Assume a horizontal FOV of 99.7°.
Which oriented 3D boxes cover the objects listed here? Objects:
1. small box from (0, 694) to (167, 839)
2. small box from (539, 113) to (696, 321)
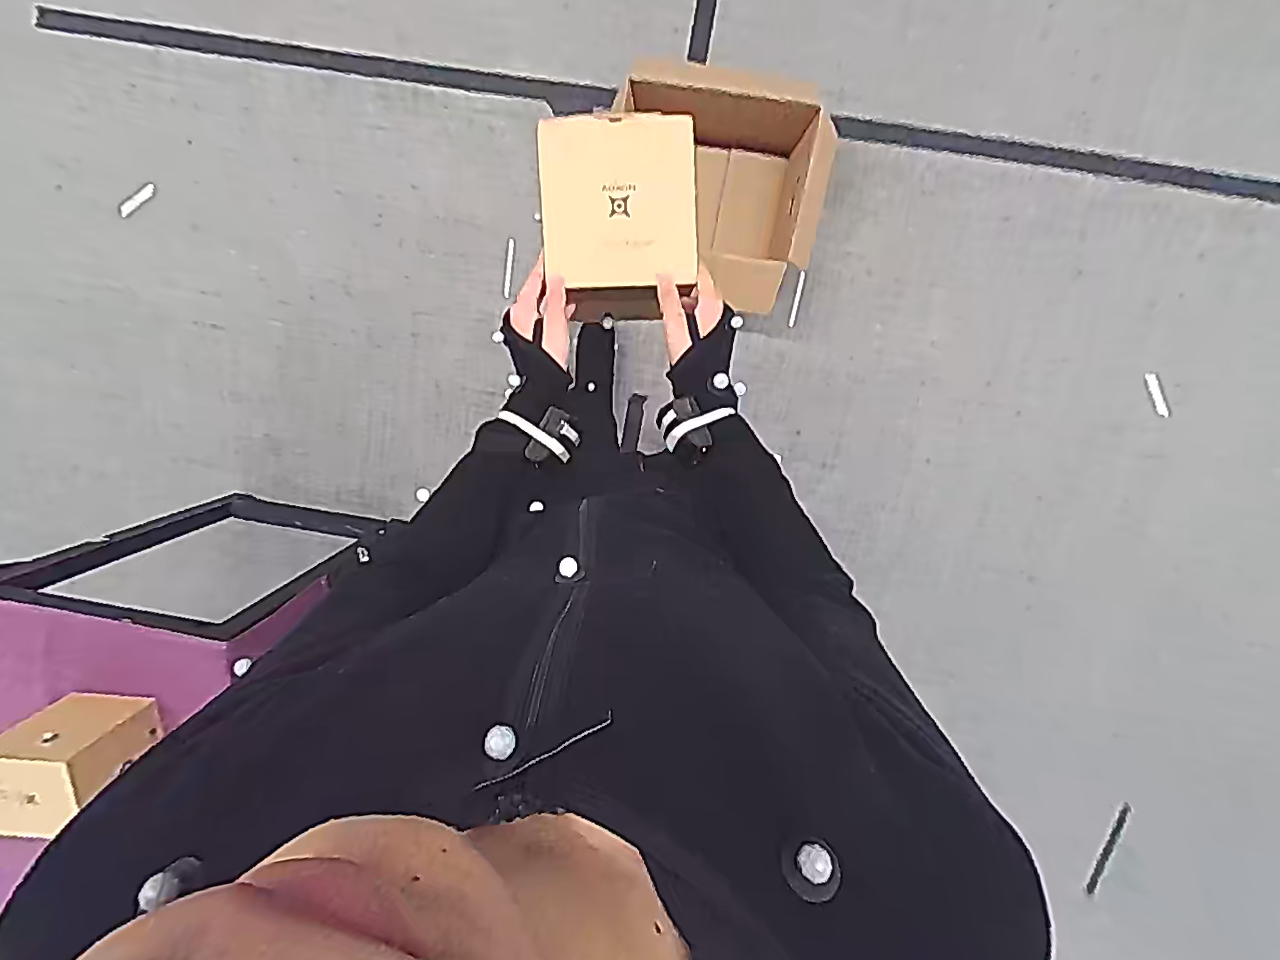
[{"bbox_3d":[-1.026,0.519,0.998,0.179,0.176,0.168,3,105,4],"label":"small box"},{"bbox_3d":[-0.027,-0.299,0.646,0.168,0.176,0.179,-2,93,-2],"label":"small box"}]
